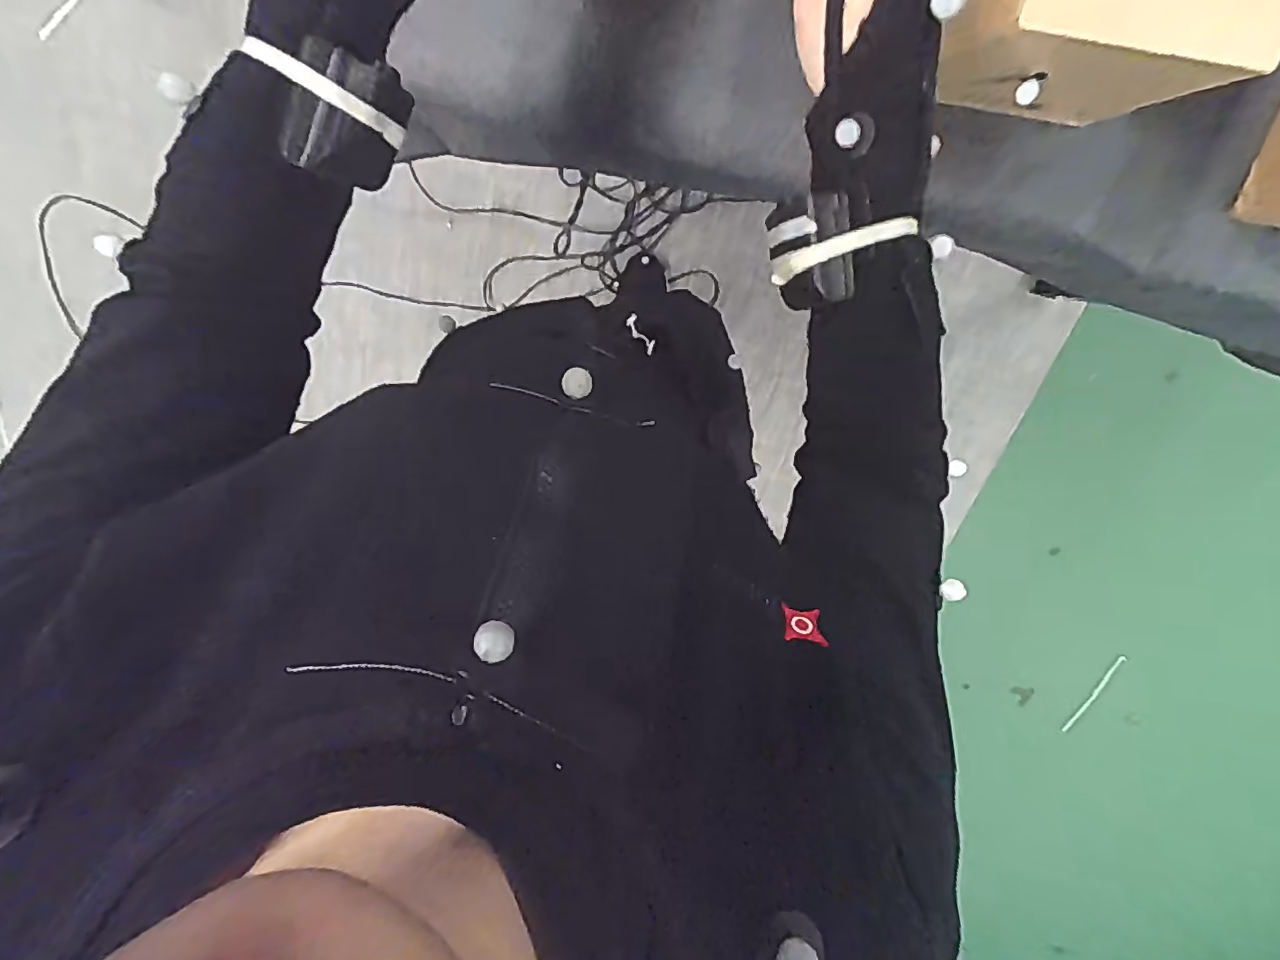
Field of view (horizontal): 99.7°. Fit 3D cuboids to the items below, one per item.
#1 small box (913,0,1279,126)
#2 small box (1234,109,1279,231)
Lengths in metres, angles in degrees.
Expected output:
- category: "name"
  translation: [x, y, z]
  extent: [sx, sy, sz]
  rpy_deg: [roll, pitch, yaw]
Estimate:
- category: "small box"
  translation: [0.320, -0.369, 0.373]
  extent: [0.168, 0.176, 0.179]
  rpy_deg: [8, 112, -2]
- category: "small box"
  translation: [0.633, -0.281, 0.404]
  extent: [0.168, 0.176, 0.179]
  rpy_deg: [7, 113, 0]
